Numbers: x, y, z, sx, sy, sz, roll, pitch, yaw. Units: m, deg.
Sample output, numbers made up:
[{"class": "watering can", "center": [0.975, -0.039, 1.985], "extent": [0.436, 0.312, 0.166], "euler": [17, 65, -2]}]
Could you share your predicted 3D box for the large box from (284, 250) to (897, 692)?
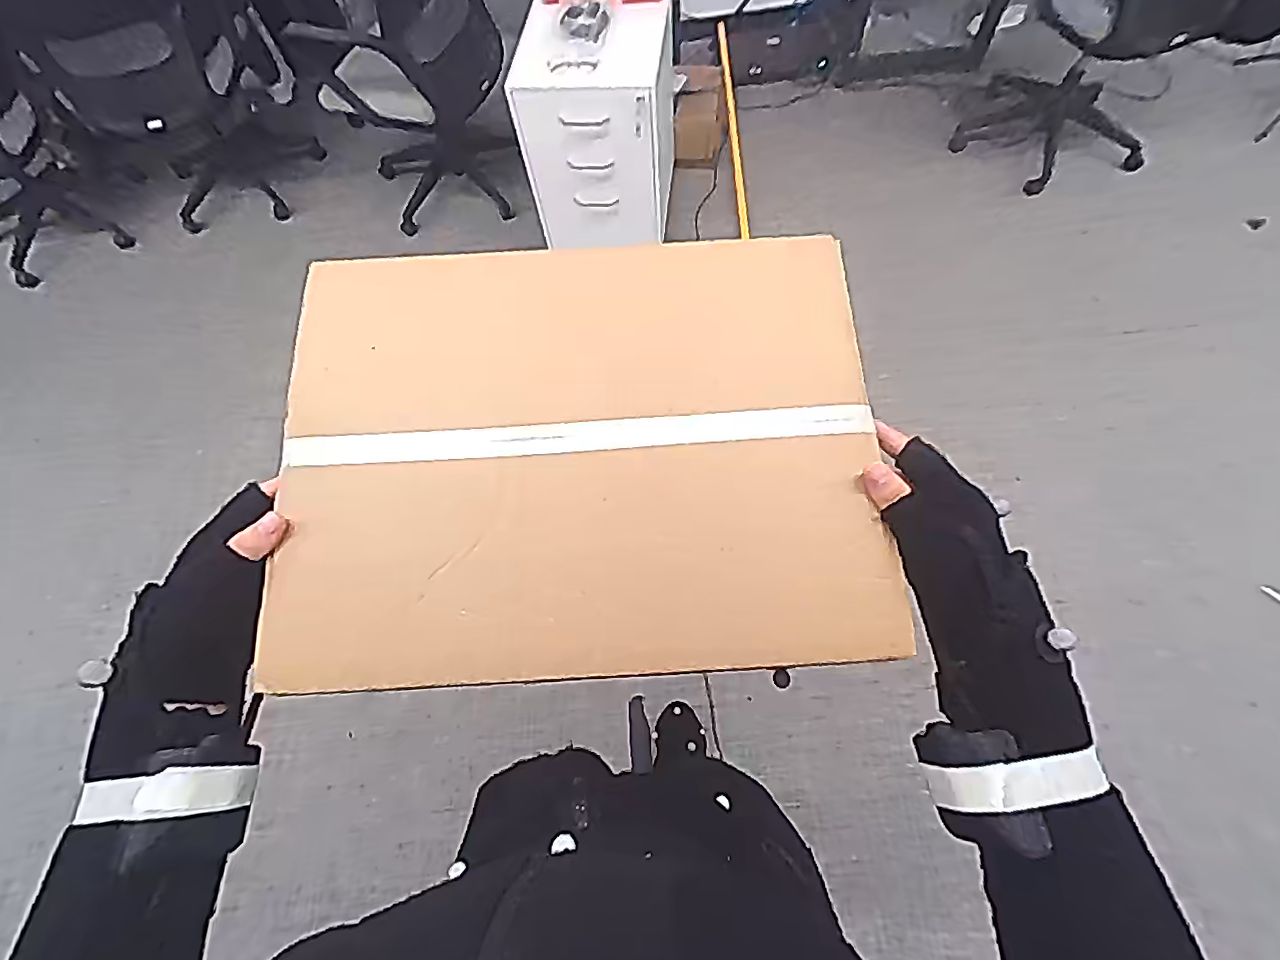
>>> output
[{"class": "large box", "center": [-0.037, 0.016, 0.529], "extent": [0.408, 0.320, 0.320], "euler": [-3, 73, -1]}]
